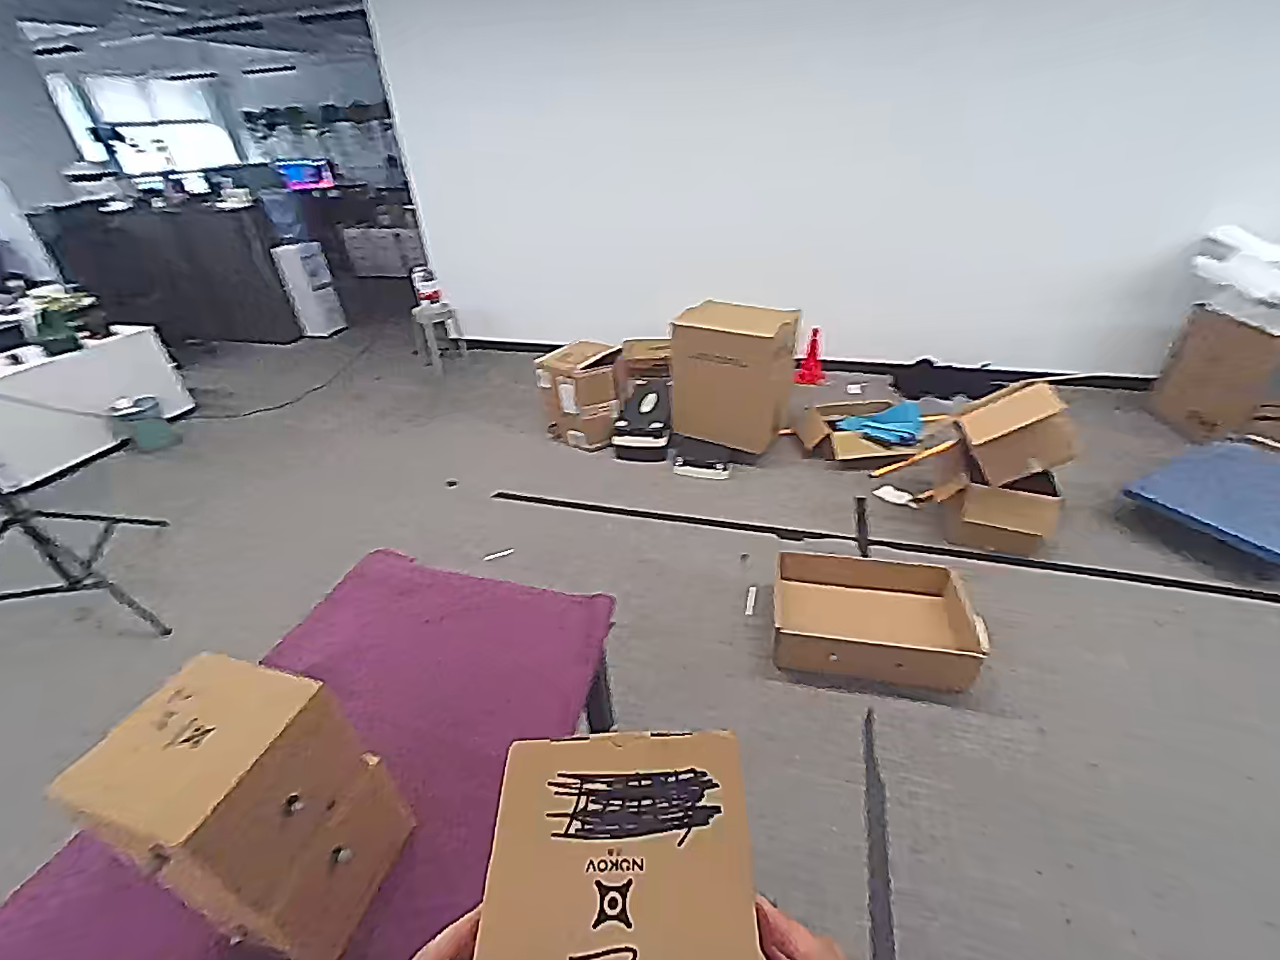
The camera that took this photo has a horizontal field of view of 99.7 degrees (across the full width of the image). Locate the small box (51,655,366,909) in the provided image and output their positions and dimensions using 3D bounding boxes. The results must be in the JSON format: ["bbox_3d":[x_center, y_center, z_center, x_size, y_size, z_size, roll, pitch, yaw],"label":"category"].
[{"bbox_3d":[-0.439,0.324,0.587,0.179,0.176,0.168,6,35,15],"label":"small box"}]

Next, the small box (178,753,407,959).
[{"bbox_3d":[-0.421,0.459,0.681,0.168,0.176,0.179,7,35,15],"label":"small box"}]
